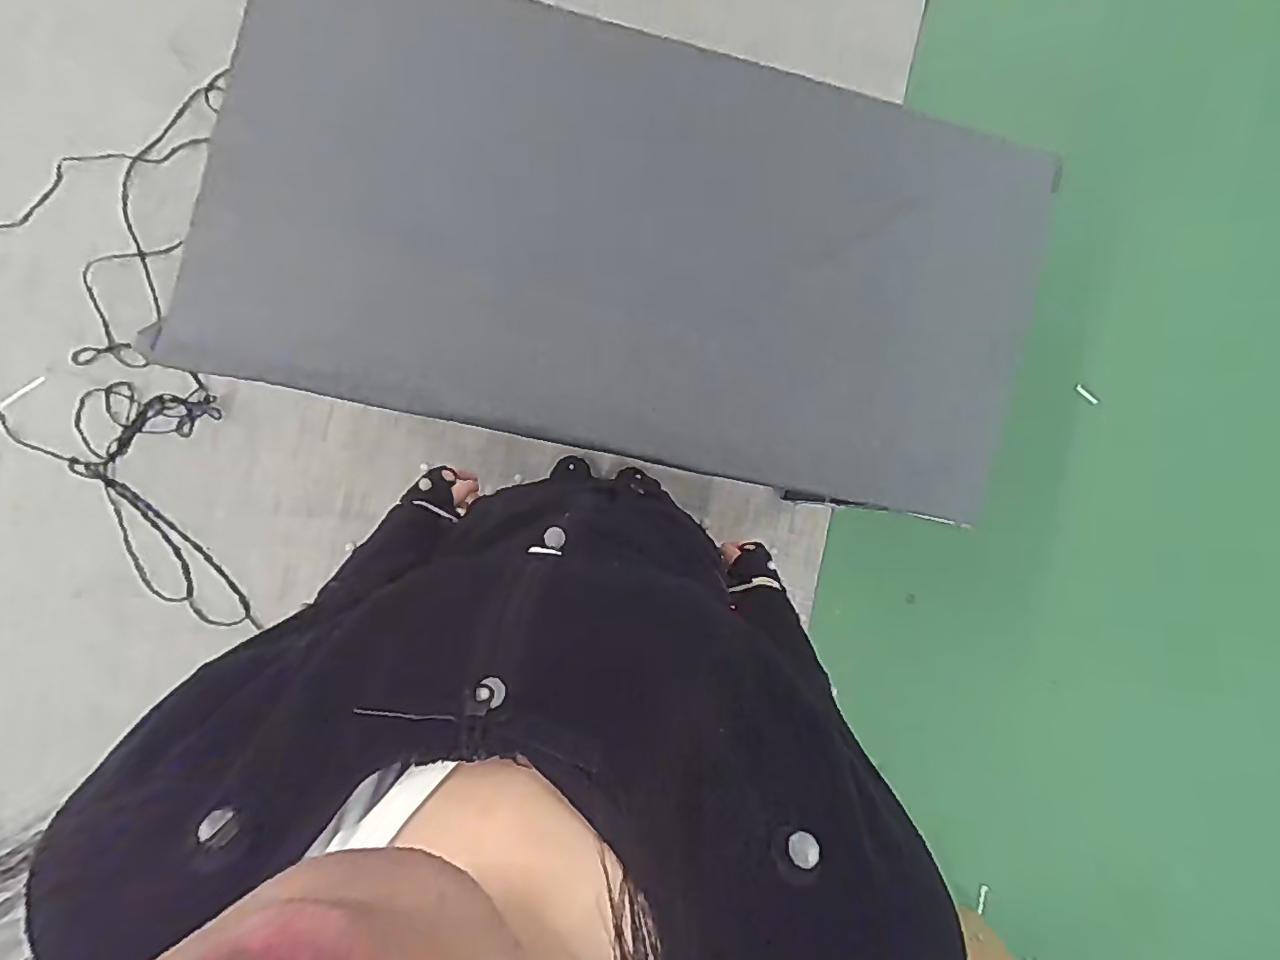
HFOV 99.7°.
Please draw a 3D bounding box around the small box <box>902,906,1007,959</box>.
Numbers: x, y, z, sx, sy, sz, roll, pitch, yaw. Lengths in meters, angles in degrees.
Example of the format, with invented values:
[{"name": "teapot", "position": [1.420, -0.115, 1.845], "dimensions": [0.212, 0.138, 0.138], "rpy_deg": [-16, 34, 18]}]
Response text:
[{"name": "small box", "position": [0.850, 1.304, 1.465], "dimensions": [0.179, 0.176, 0.168], "rpy_deg": [12, 87, -4]}]
